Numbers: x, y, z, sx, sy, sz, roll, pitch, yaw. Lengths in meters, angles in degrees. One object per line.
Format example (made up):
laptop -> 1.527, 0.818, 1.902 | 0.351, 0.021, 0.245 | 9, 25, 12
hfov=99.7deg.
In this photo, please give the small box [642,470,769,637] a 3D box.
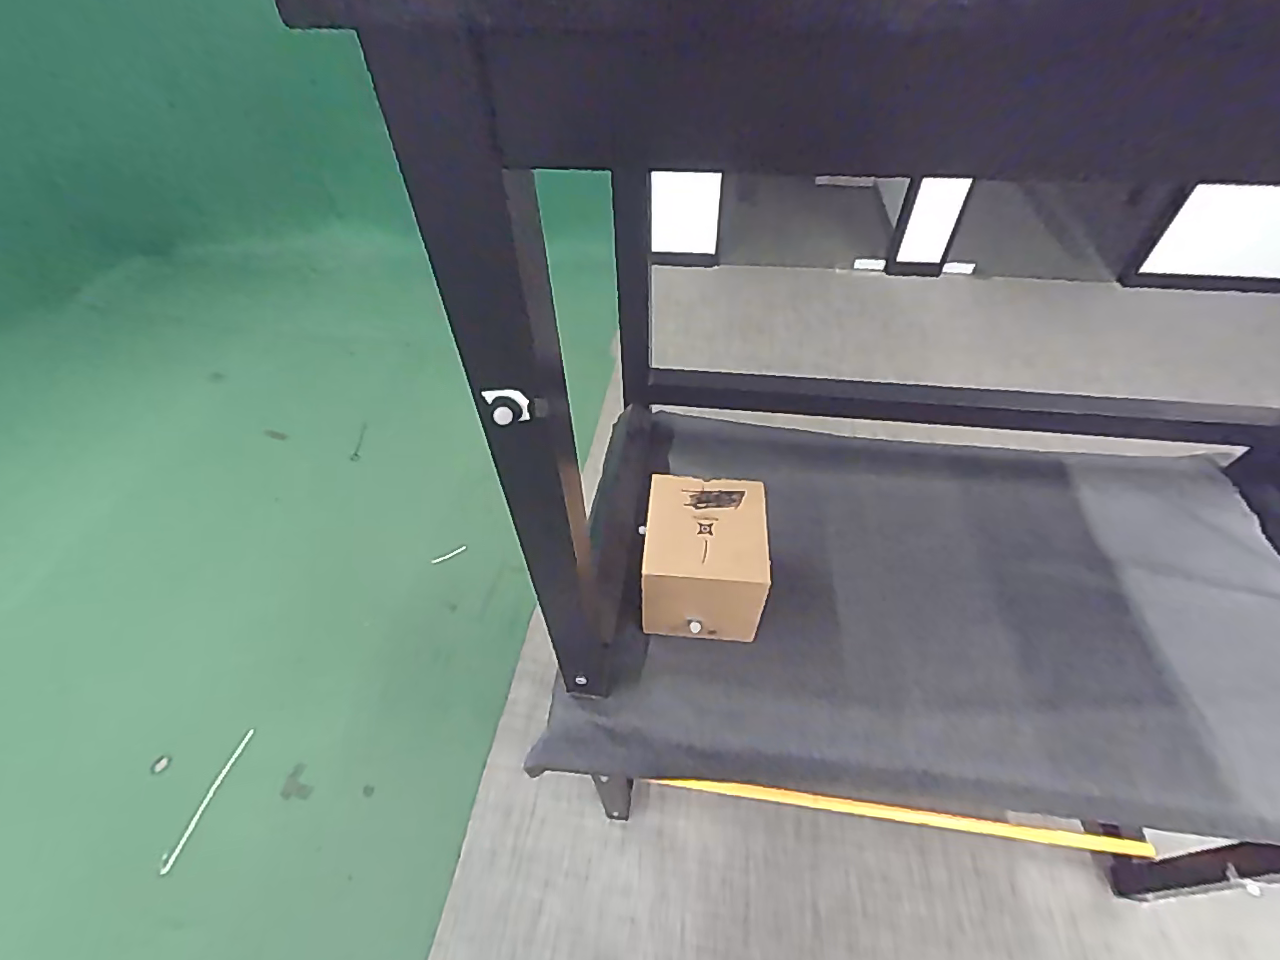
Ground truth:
small box -> 0.092, 0.108, 0.799 | 0.168, 0.176, 0.179 | 3, 48, 5
